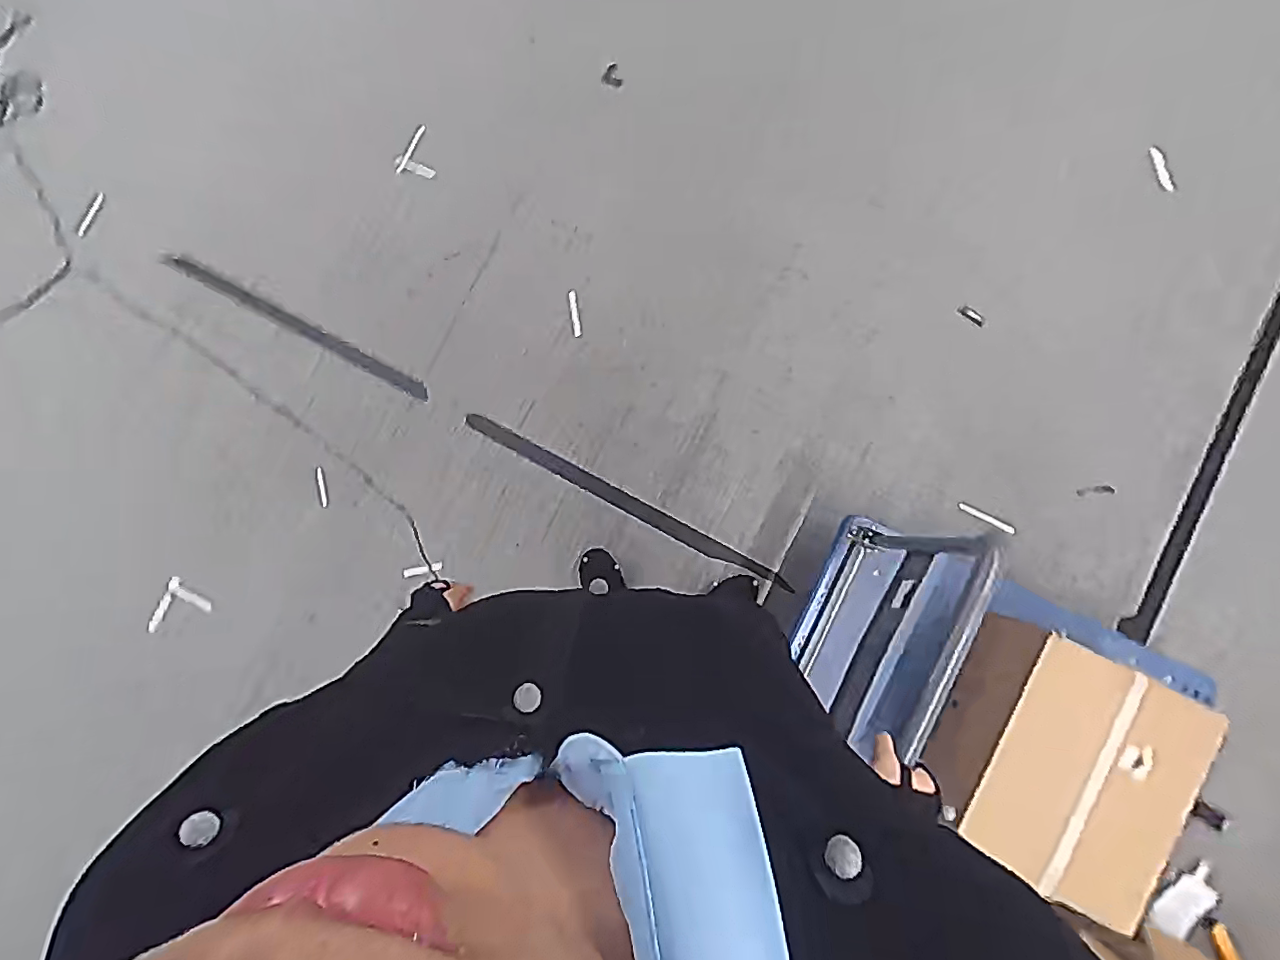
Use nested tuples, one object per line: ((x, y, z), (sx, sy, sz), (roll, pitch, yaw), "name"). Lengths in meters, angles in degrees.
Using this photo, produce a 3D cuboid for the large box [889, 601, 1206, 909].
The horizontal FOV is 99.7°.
((0.777, 0.506, 1.093), (0.320, 0.320, 0.408), (27, 86, 5), "large box")
